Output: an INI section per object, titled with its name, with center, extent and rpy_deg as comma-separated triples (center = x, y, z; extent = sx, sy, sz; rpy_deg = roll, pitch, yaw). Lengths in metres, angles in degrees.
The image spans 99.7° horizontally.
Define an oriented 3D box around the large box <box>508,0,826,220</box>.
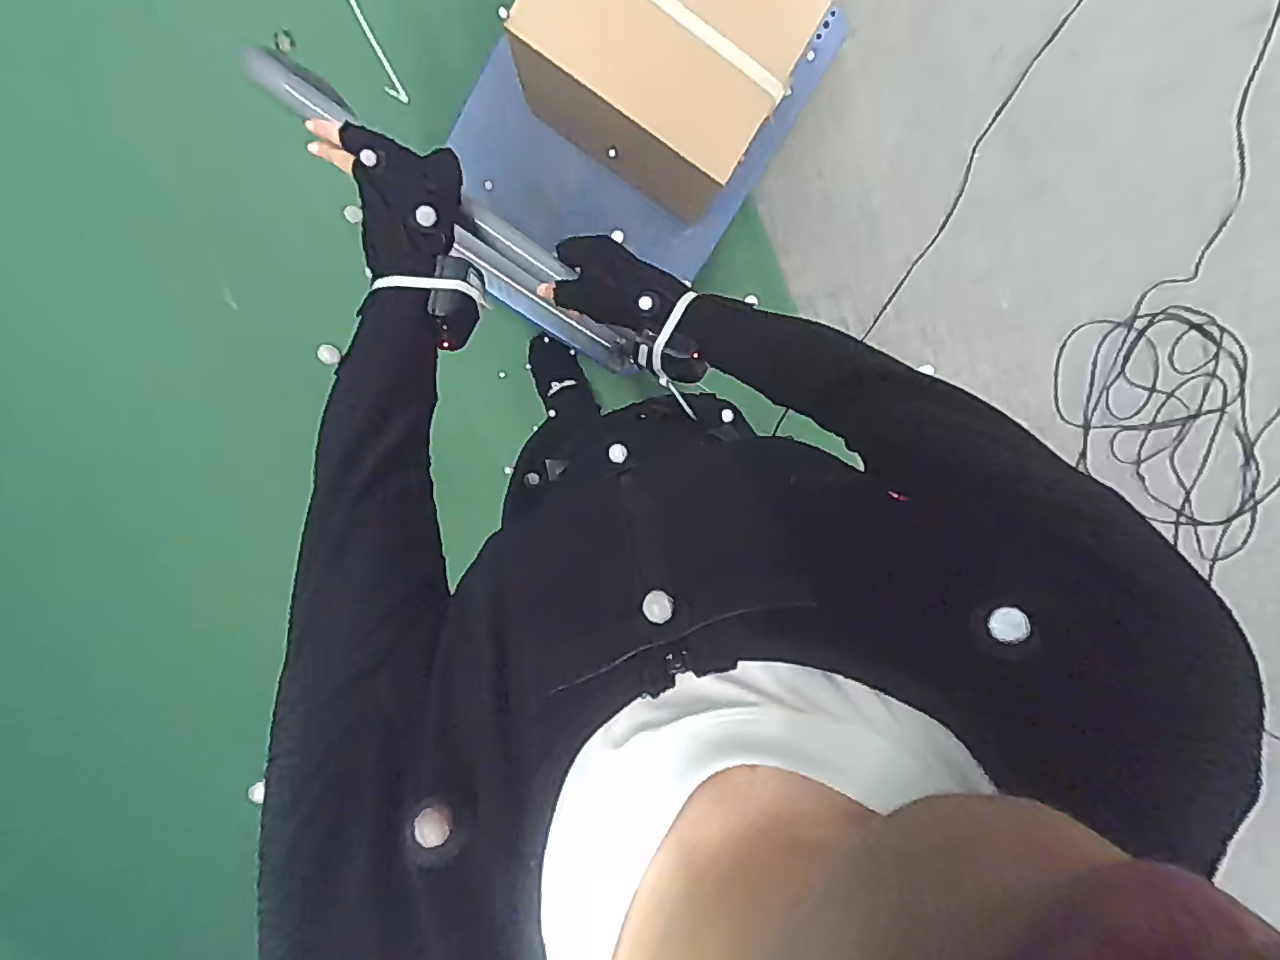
[large box]
center = 0.037, -0.743, 0.973
extent = 0.408, 0.320, 0.320
rpy_deg = 30, 99, -10
